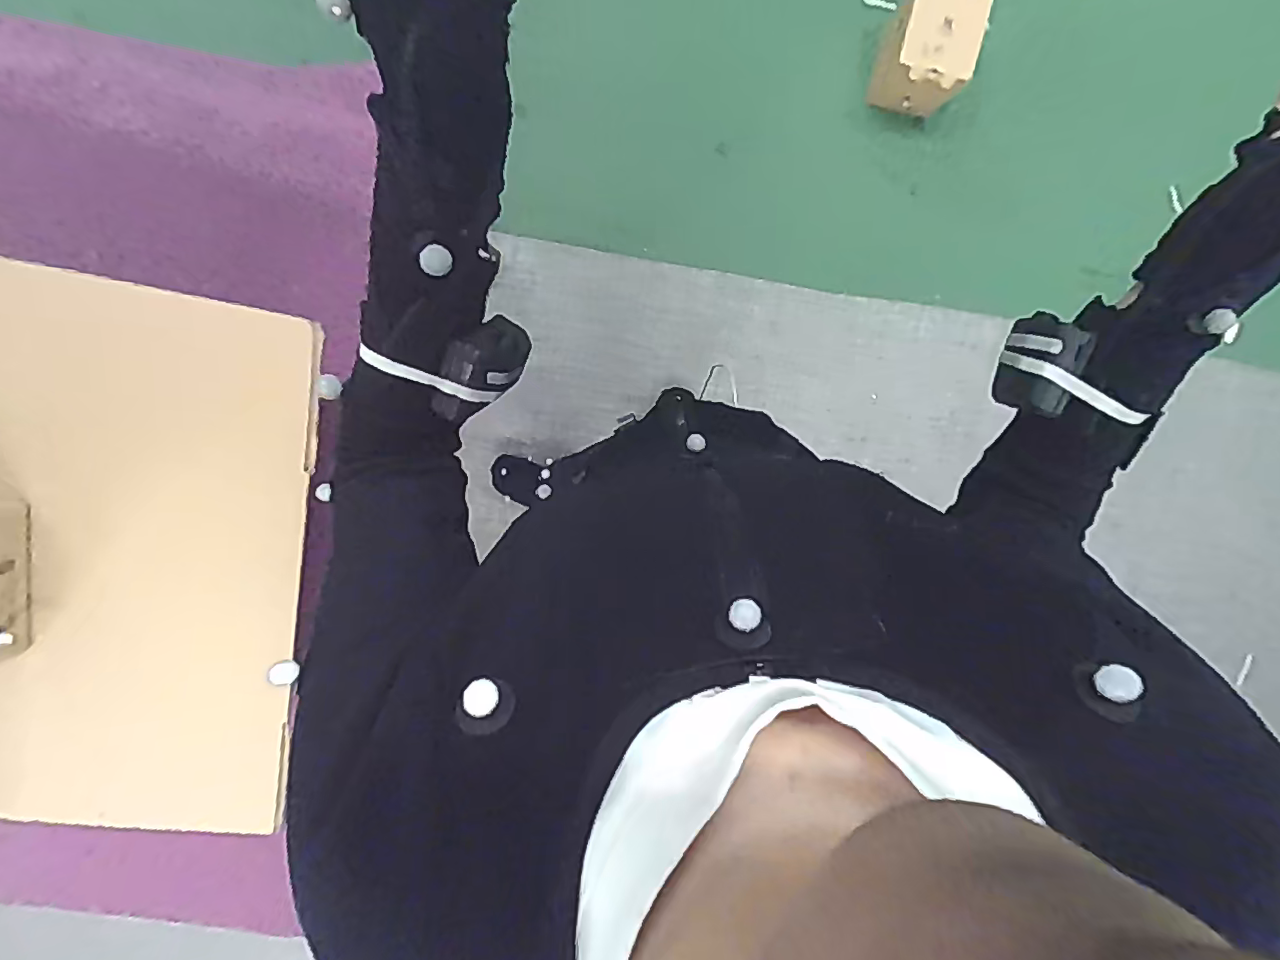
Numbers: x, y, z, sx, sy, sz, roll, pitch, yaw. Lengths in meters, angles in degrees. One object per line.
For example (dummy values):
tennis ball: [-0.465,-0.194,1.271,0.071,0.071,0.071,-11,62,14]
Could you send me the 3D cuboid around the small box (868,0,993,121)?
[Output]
small box: [0.645,-0.961,1.224,0.168,0.176,0.179,11,100,-4]
